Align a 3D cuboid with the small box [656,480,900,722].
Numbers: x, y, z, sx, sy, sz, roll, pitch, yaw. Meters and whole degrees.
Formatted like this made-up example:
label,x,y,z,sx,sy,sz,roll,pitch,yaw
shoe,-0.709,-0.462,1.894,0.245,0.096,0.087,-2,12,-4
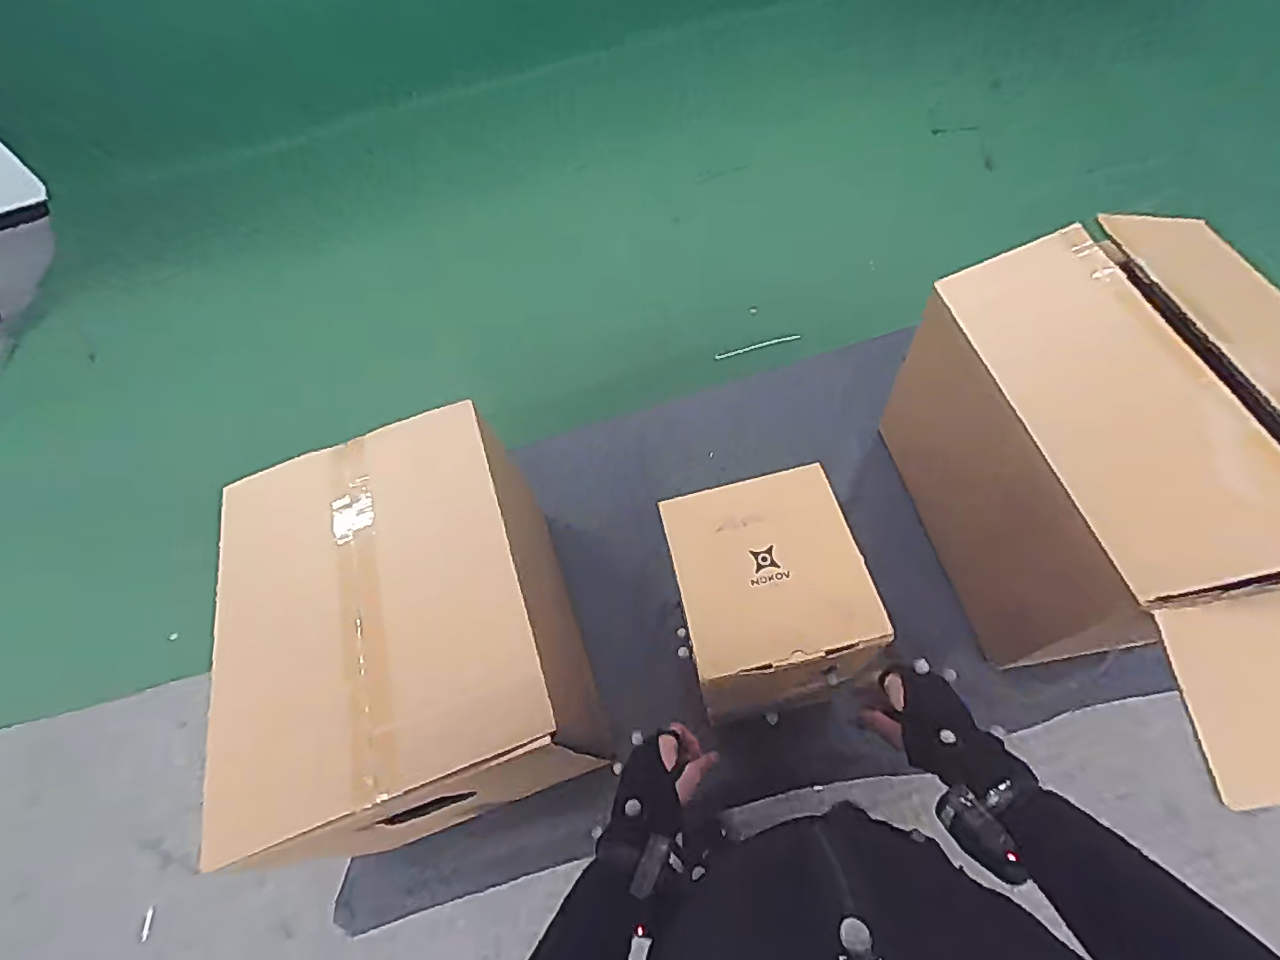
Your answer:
label,x,y,z,sx,sy,sz,roll,pitch,yaw
small box,0.120,0.129,0.532,0.168,0.176,0.179,-14,59,0
